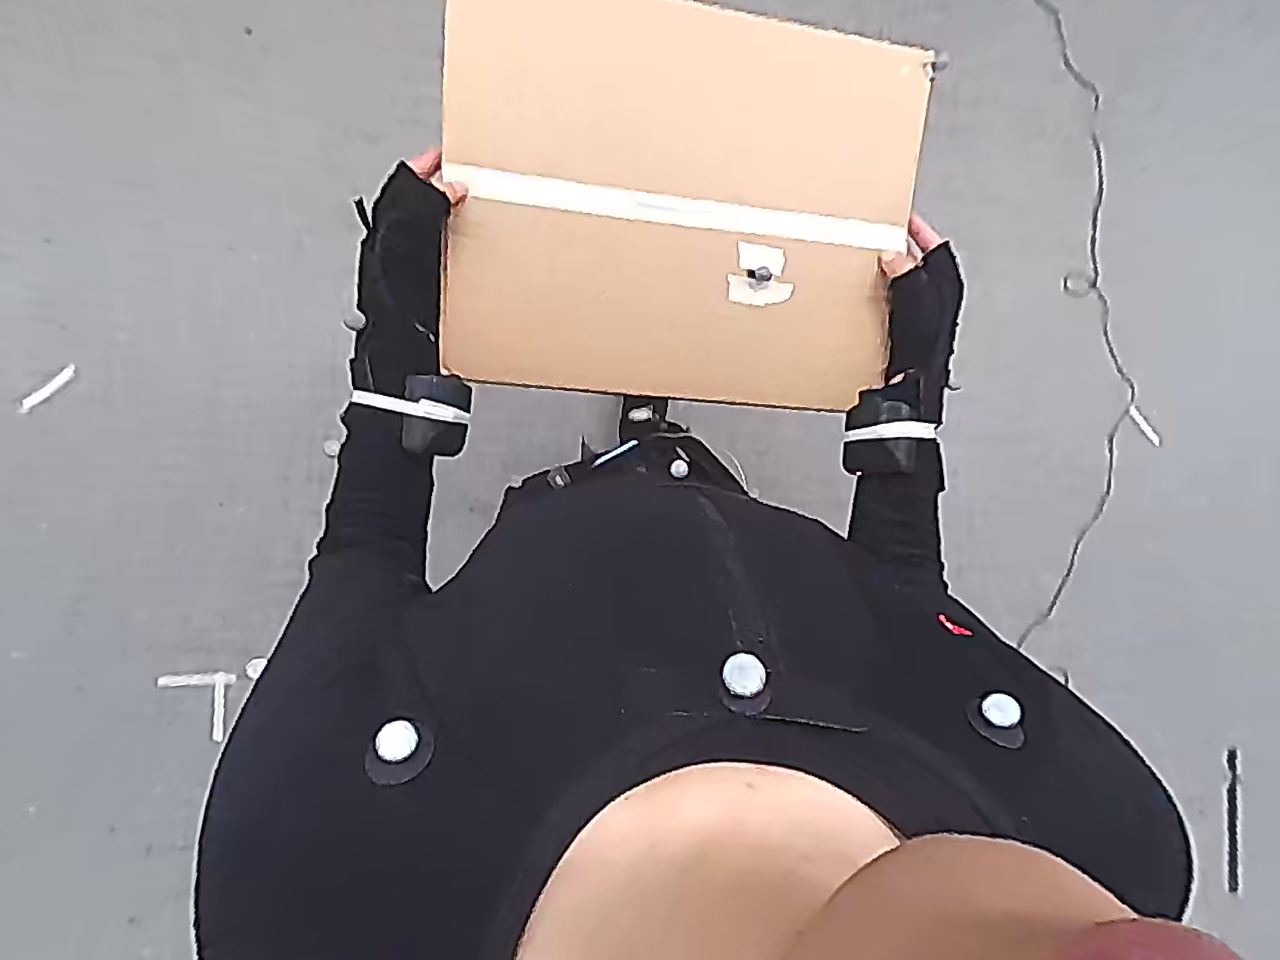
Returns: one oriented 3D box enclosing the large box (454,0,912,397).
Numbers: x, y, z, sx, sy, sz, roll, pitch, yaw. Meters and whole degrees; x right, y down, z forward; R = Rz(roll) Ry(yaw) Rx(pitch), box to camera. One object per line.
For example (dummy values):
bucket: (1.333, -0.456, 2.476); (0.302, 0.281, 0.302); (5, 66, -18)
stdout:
large box: (0.017, -0.265, 0.622); (0.408, 0.320, 0.320); (3, 101, -10)
